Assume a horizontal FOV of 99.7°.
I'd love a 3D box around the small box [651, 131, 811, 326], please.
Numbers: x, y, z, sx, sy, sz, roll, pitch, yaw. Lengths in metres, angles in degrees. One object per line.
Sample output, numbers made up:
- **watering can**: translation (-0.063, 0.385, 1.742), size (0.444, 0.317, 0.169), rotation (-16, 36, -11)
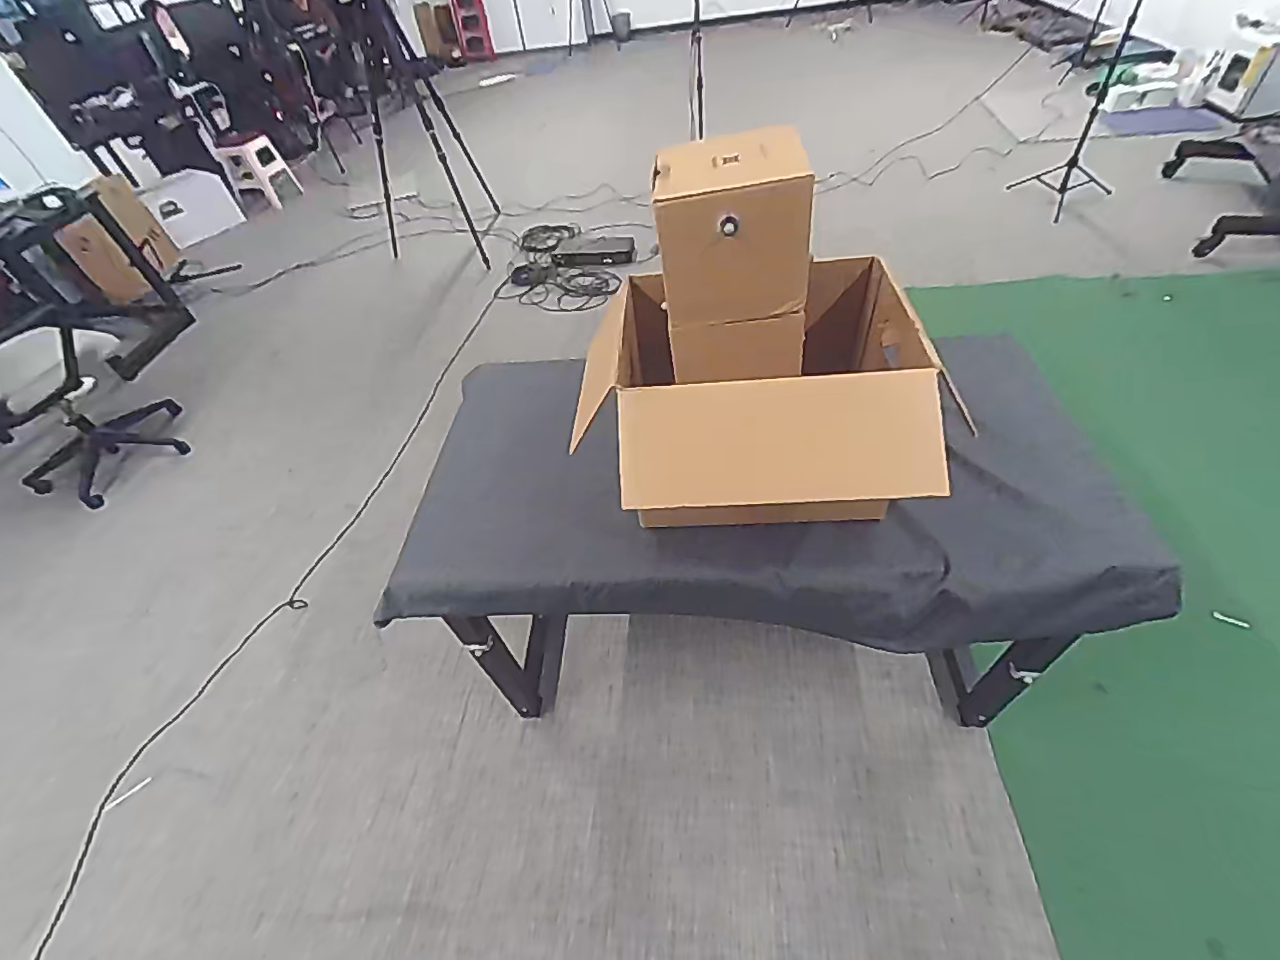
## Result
- **small box**: translation (0.114, -0.316, 0.696), size (0.179, 0.176, 0.168), rotation (-5, 49, 7)
